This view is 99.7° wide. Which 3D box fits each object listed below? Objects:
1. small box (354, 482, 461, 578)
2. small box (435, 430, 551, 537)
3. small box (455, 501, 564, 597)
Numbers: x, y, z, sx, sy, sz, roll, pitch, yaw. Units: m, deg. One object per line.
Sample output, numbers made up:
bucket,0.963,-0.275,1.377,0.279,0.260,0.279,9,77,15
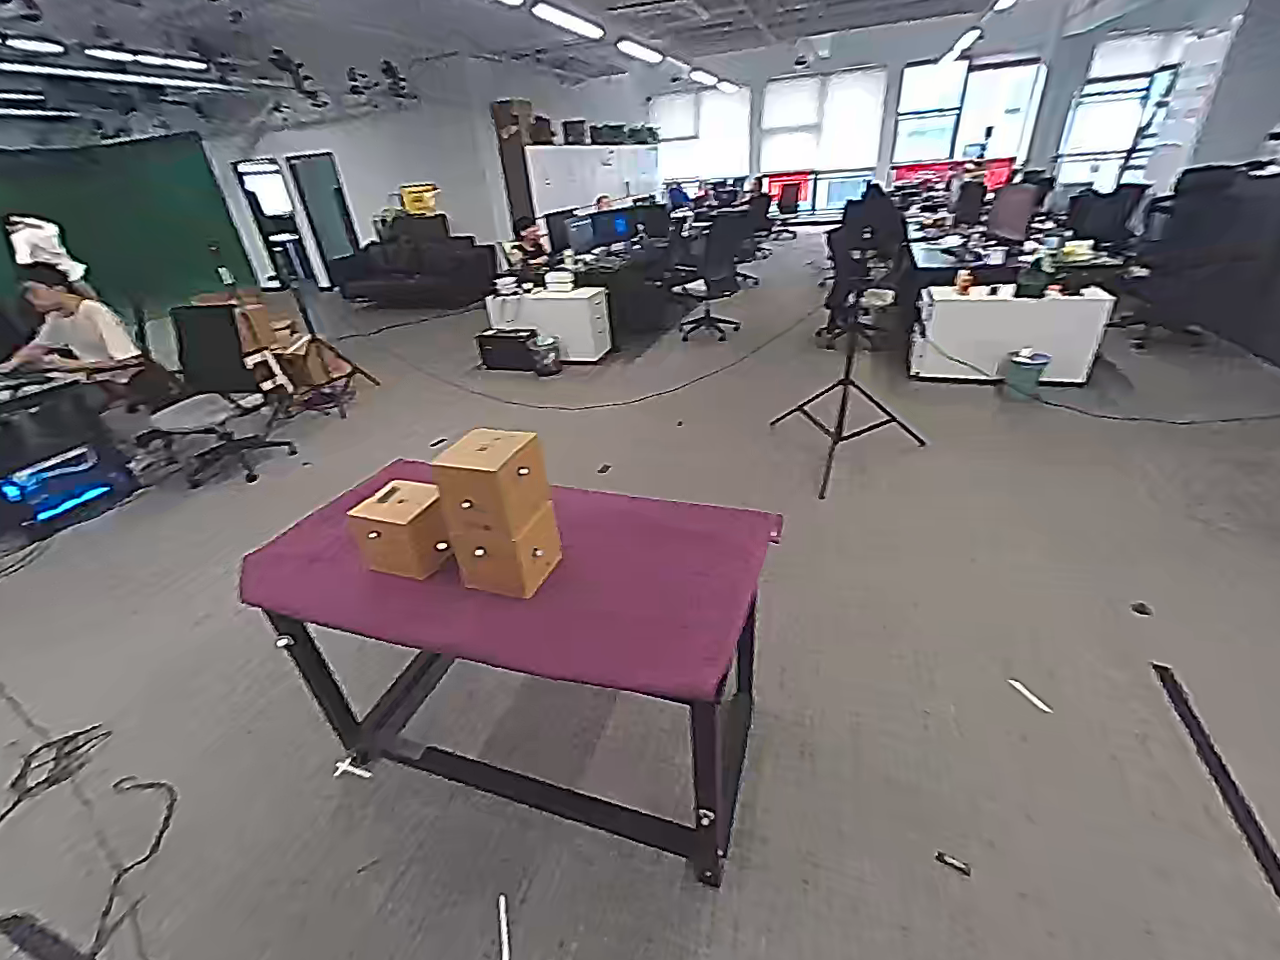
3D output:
small box,-0.565,0.123,1.350,0.179,0.176,0.168,7,33,19
small box,-0.311,0.005,1.190,0.168,0.176,0.179,7,32,20
small box,-0.294,0.152,1.264,0.179,0.176,0.168,6,32,20
